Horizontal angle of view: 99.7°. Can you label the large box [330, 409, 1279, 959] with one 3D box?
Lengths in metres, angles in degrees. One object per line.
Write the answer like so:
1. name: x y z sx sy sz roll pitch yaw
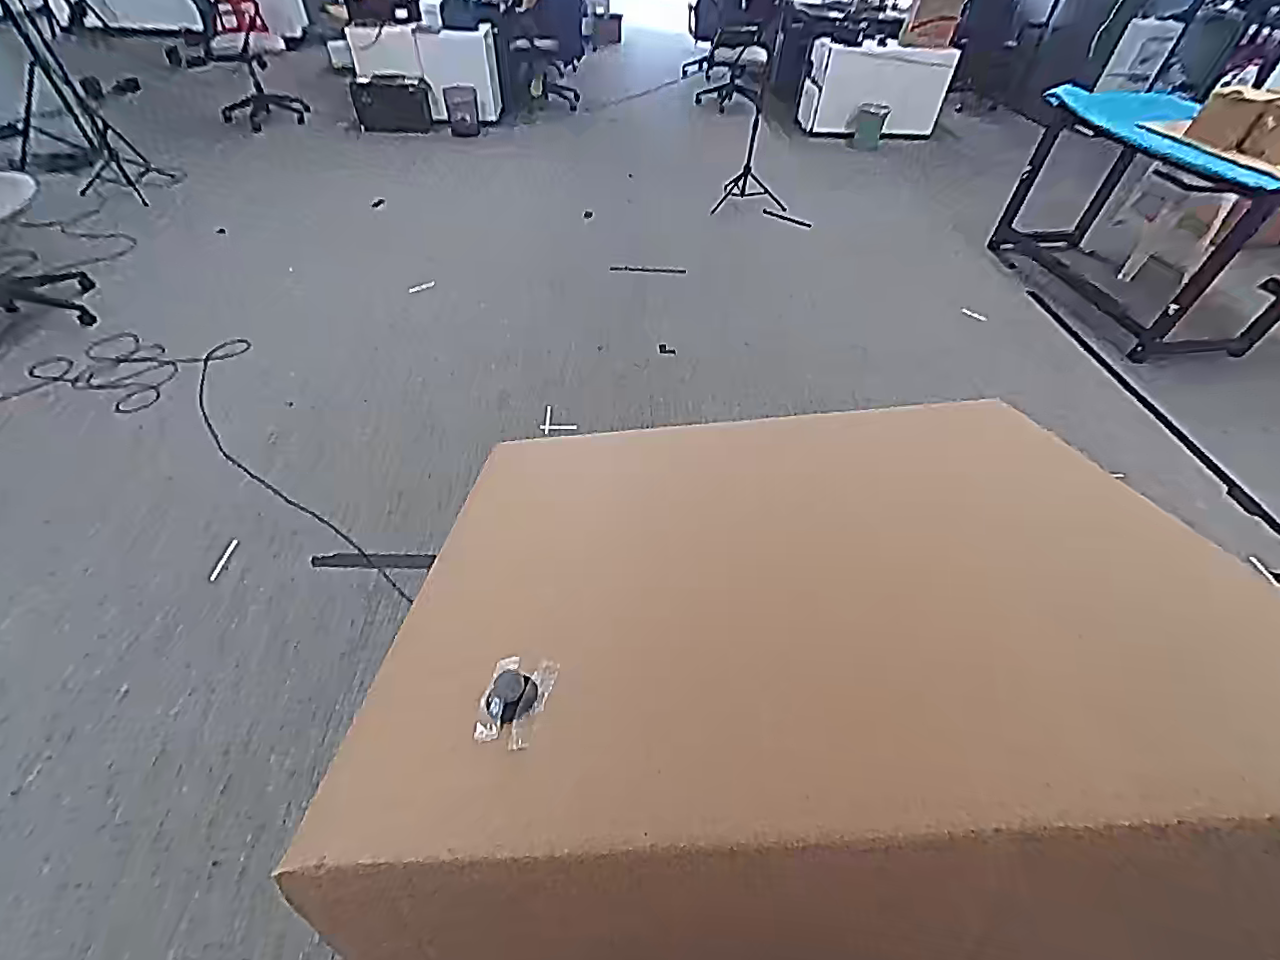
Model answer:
1. large box: 0.098 0.163 0.385 0.408 0.320 0.320 -5 31 4
